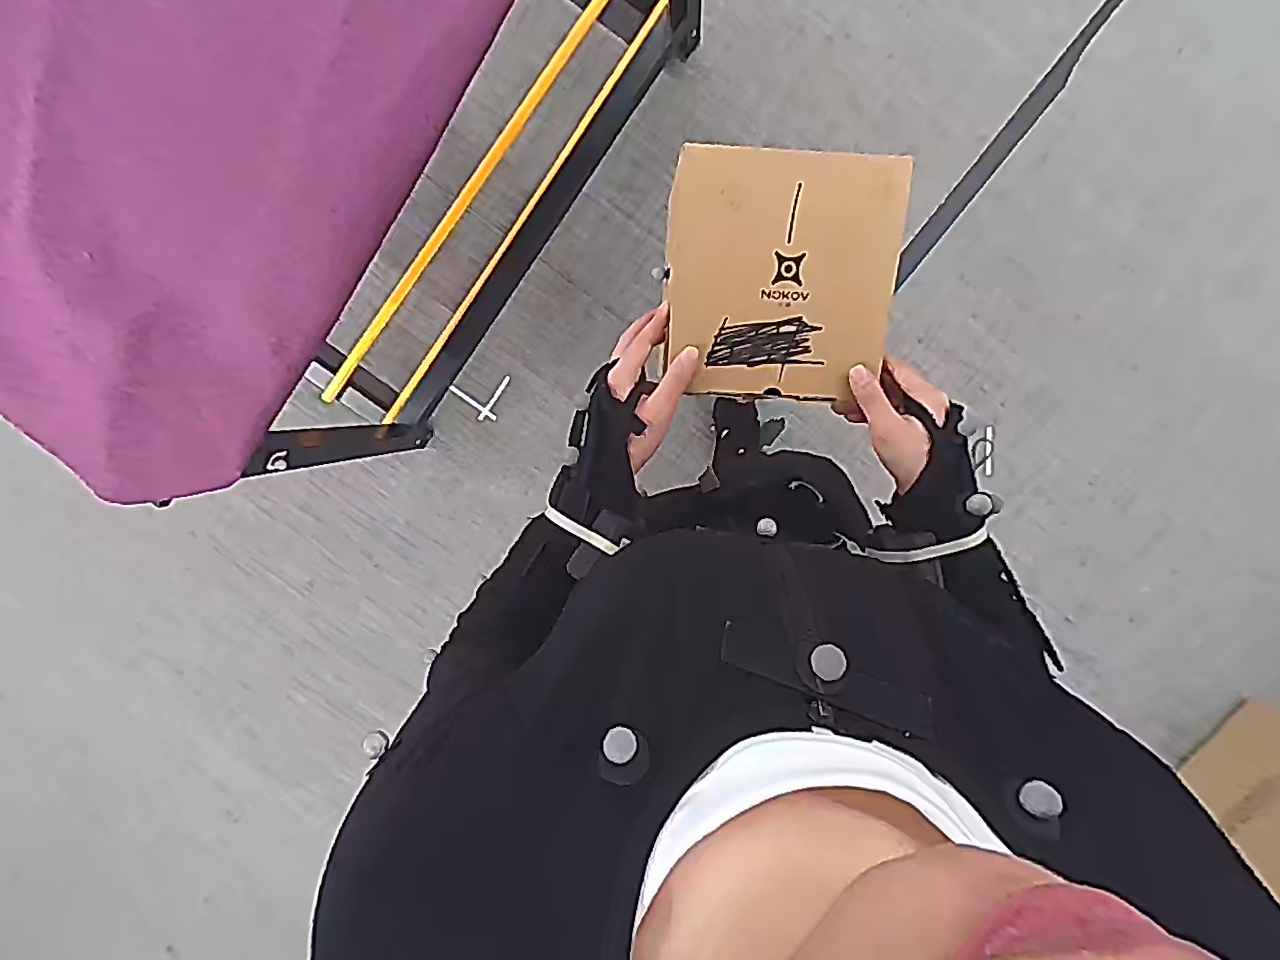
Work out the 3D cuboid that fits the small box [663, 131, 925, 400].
[{"bbox_3d":[0.109,-0.169,0.465,0.168,0.176,0.179,3,104,-1],"label":"small box"}]
